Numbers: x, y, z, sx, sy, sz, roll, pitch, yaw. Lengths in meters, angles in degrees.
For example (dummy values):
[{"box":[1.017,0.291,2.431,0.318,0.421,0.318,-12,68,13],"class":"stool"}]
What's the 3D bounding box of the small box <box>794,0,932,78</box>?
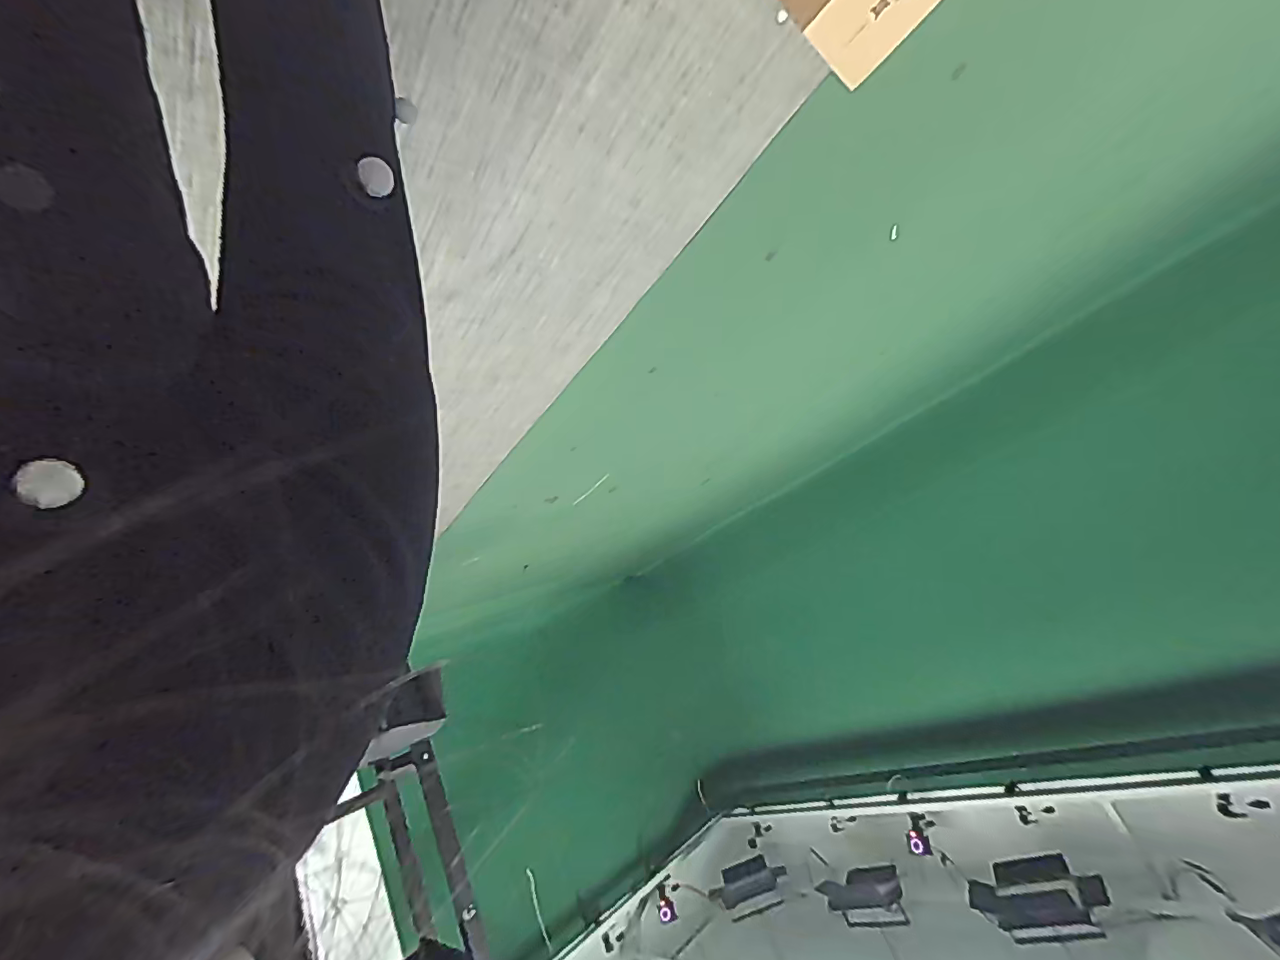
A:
[{"box":[0.282,-0.690,0.696,0.168,0.176,0.179,-7,158,-47],"class":"small box"}]
